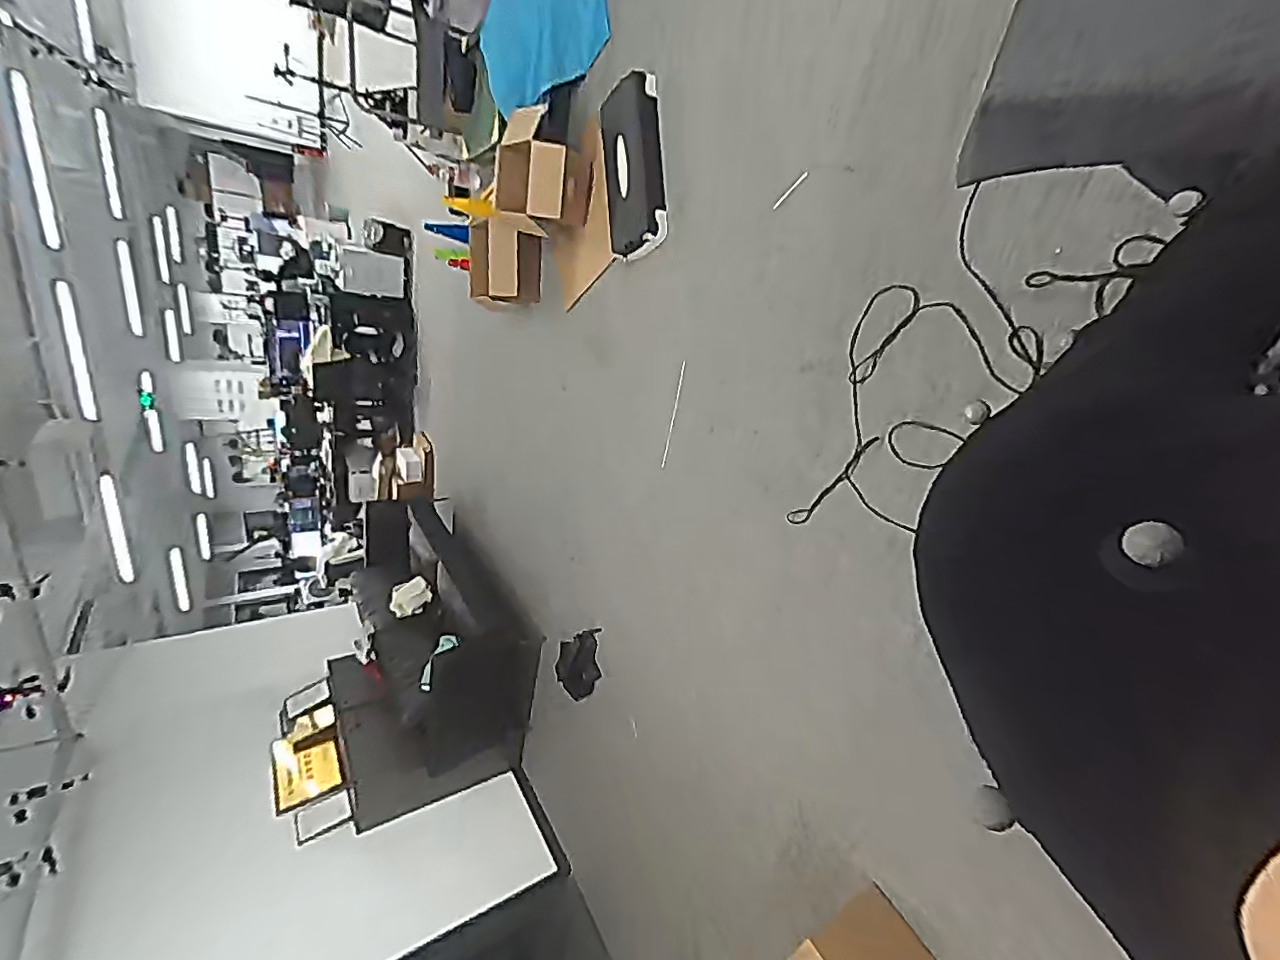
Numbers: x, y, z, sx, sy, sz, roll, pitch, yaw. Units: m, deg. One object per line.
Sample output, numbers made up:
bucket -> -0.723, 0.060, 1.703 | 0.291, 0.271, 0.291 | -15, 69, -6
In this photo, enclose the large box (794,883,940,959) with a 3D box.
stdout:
large box -> 0.665, 1.452, 1.481 | 0.408, 0.320, 0.320 | 45, 129, 44
